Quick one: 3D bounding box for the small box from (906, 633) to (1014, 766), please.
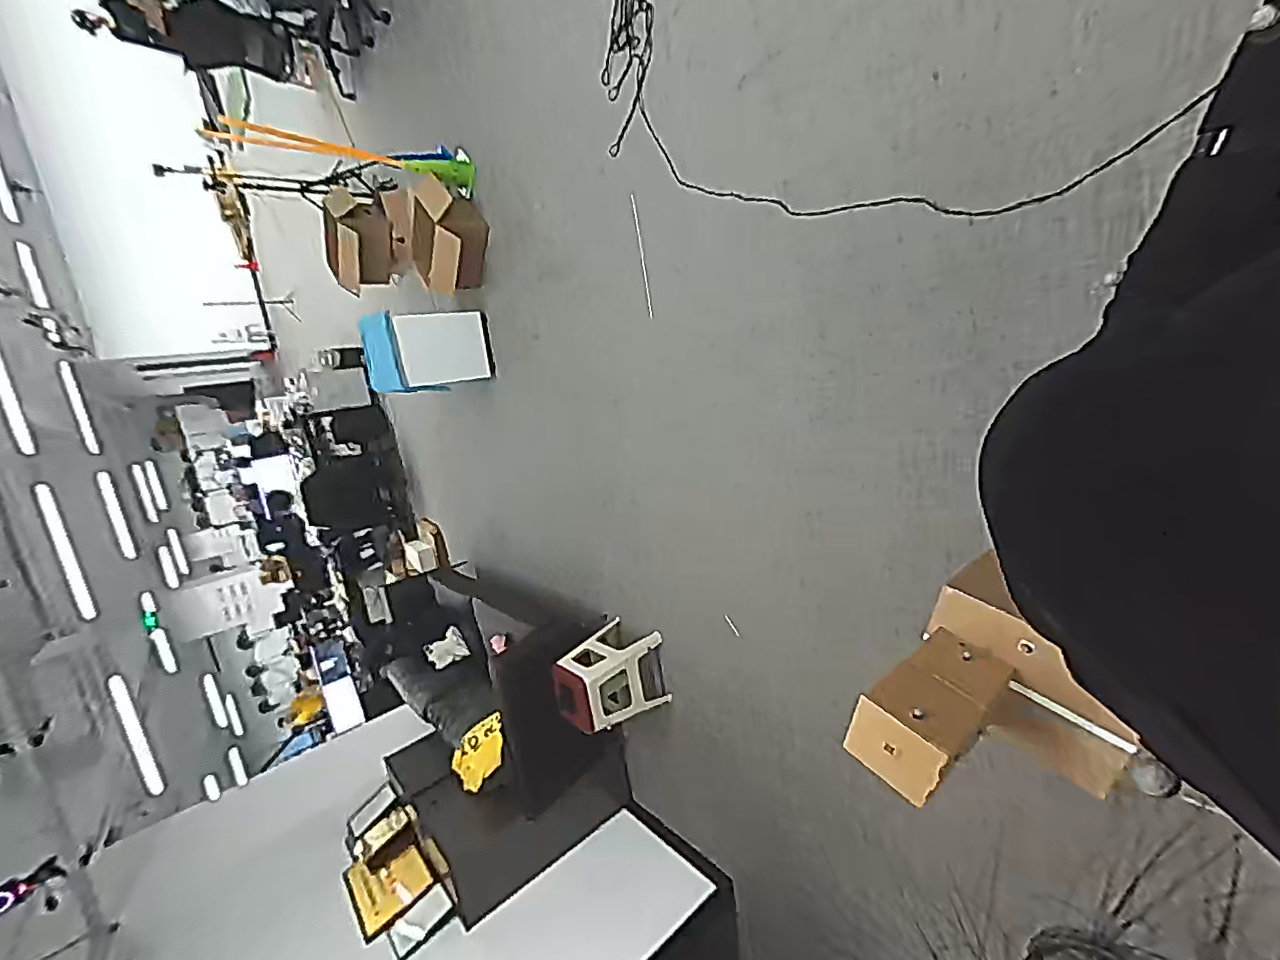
[{"bbox_3d":[0.690,0.476,1.197,0.168,0.176,0.179,30,127,42],"label":"small box"}]

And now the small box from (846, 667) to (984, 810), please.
[{"bbox_3d":[0.560,0.513,1.107,0.179,0.176,0.168,31,128,41],"label":"small box"}]
